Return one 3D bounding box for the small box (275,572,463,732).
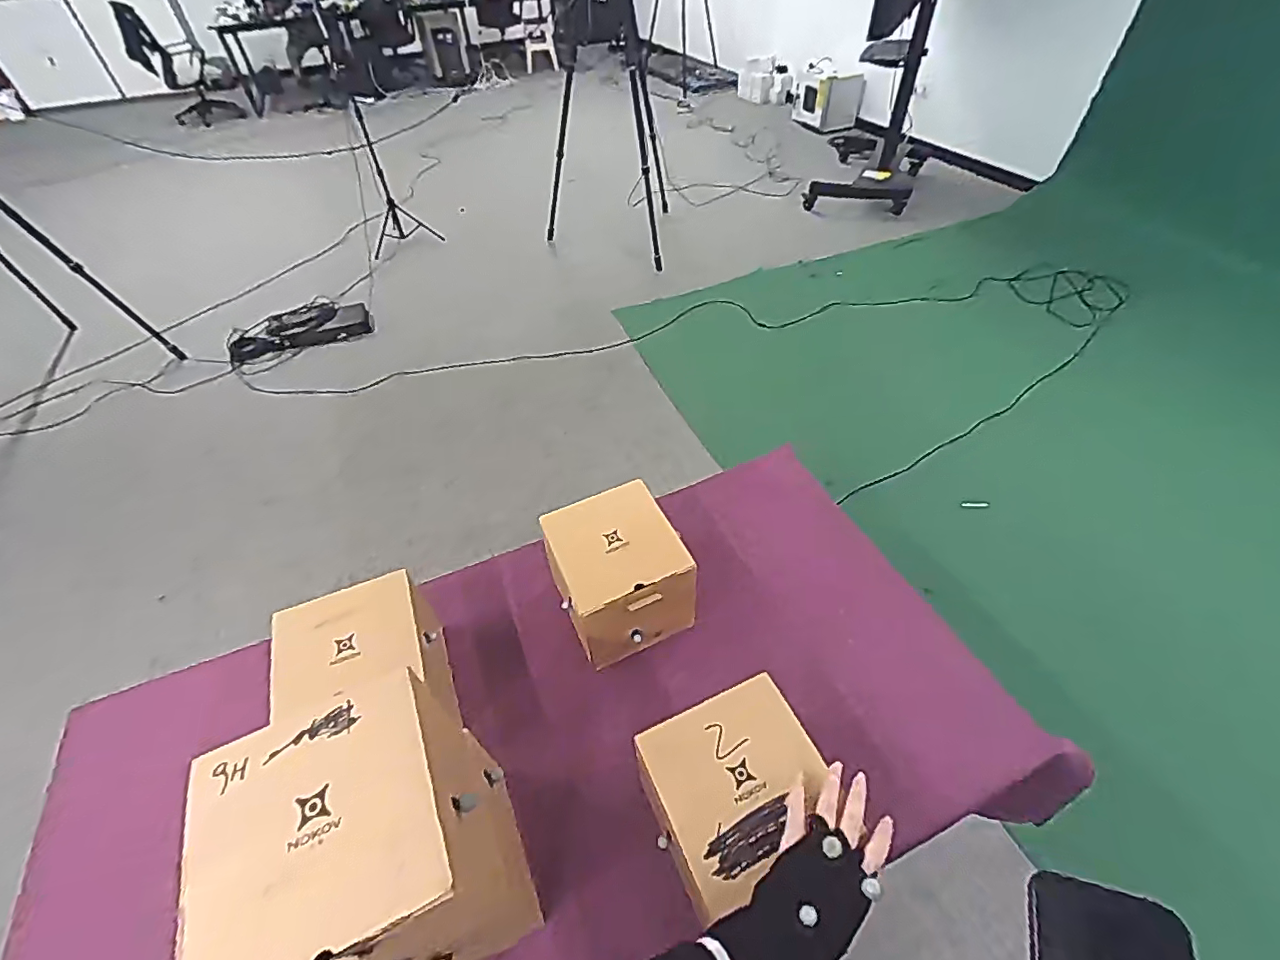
[{"bbox_3d":[-0.346,0.258,0.710,0.168,0.176,0.179,-19,49,-15],"label":"small box"}]

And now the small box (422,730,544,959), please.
[{"bbox_3d":[-0.214,0.405,0.565,0.168,0.176,0.179,-21,49,-14],"label":"small box"}]

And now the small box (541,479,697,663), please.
[{"bbox_3d":[-0.031,0.135,0.800,0.168,0.176,0.179,-22,51,-15],"label":"small box"}]

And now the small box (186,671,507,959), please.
[{"bbox_3d":[-0.224,0.297,0.443,0.168,0.176,0.179,-22,51,-16],"label":"small box"}]
